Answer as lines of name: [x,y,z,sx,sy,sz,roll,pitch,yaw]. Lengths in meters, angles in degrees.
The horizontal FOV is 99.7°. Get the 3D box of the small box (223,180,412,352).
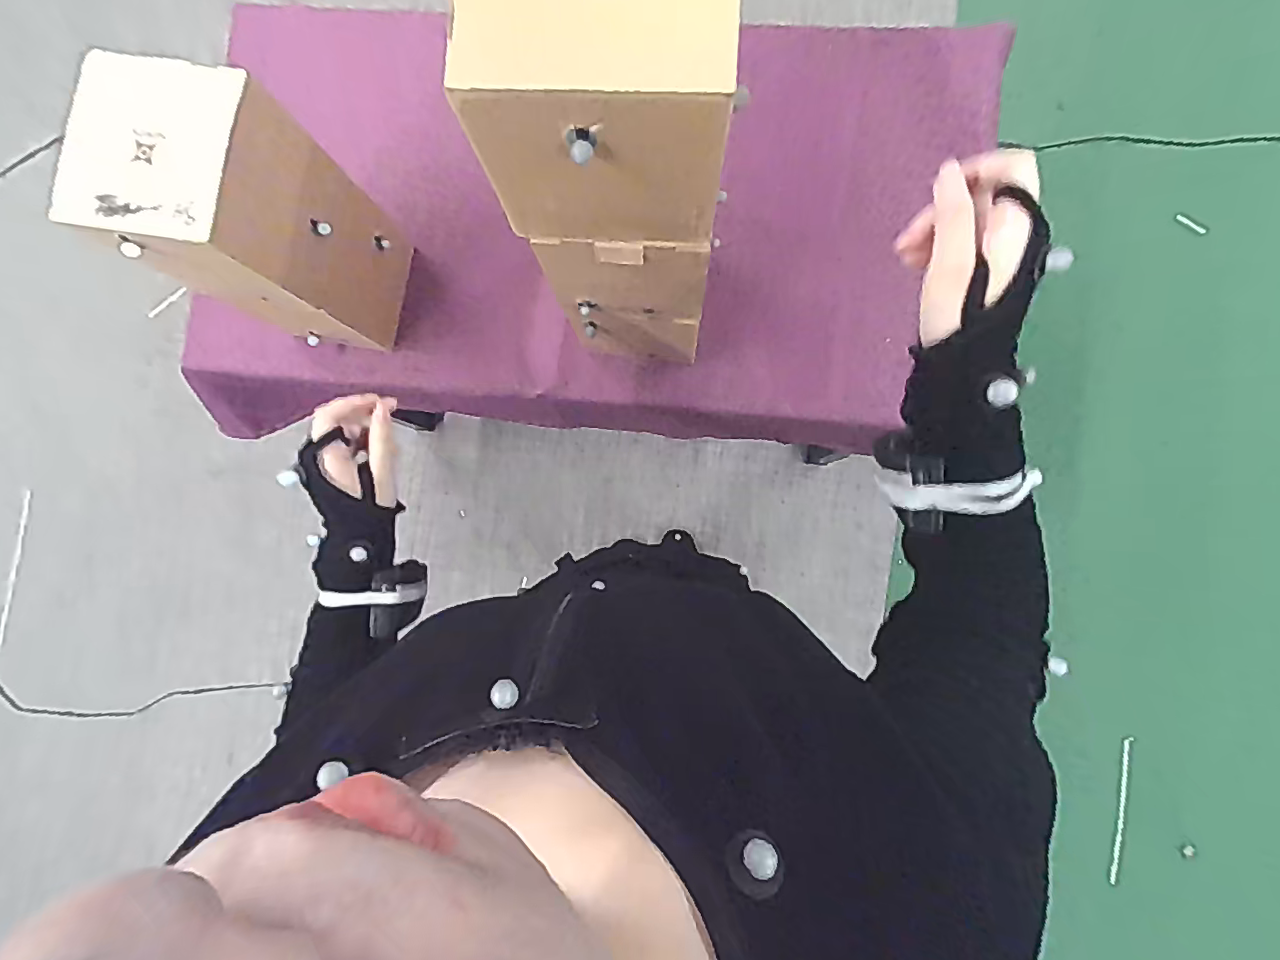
small box: [-0.446,-0.300,0.761,0.168,0.176,0.179,10,87,5]

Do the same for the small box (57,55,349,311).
small box: [-0.457,-0.312,0.597,0.168,0.176,0.179,10,86,5]

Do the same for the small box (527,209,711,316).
small box: [-0.009,-0.287,0.568,0.168,0.176,0.179,5,85,4]

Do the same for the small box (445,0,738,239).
small box: [-0.022,-0.302,0.407,0.179,0.176,0.168,3,86,5]
